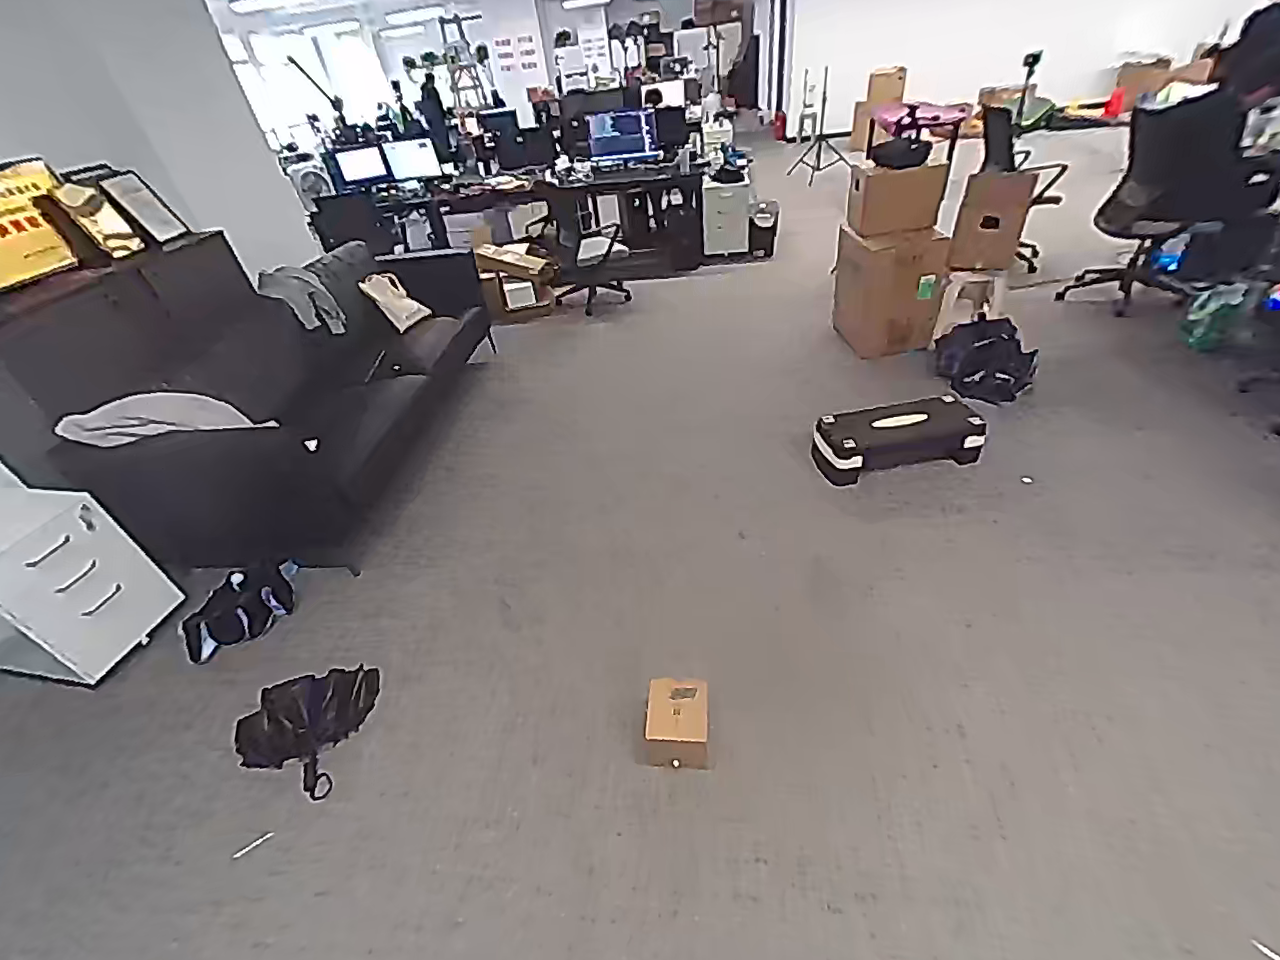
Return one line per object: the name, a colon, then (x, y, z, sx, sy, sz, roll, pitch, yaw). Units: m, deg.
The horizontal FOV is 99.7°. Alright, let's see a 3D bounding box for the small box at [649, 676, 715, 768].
small box: (0.124, 0.682, 1.529, 0.168, 0.176, 0.179, -1, 39, 10)
